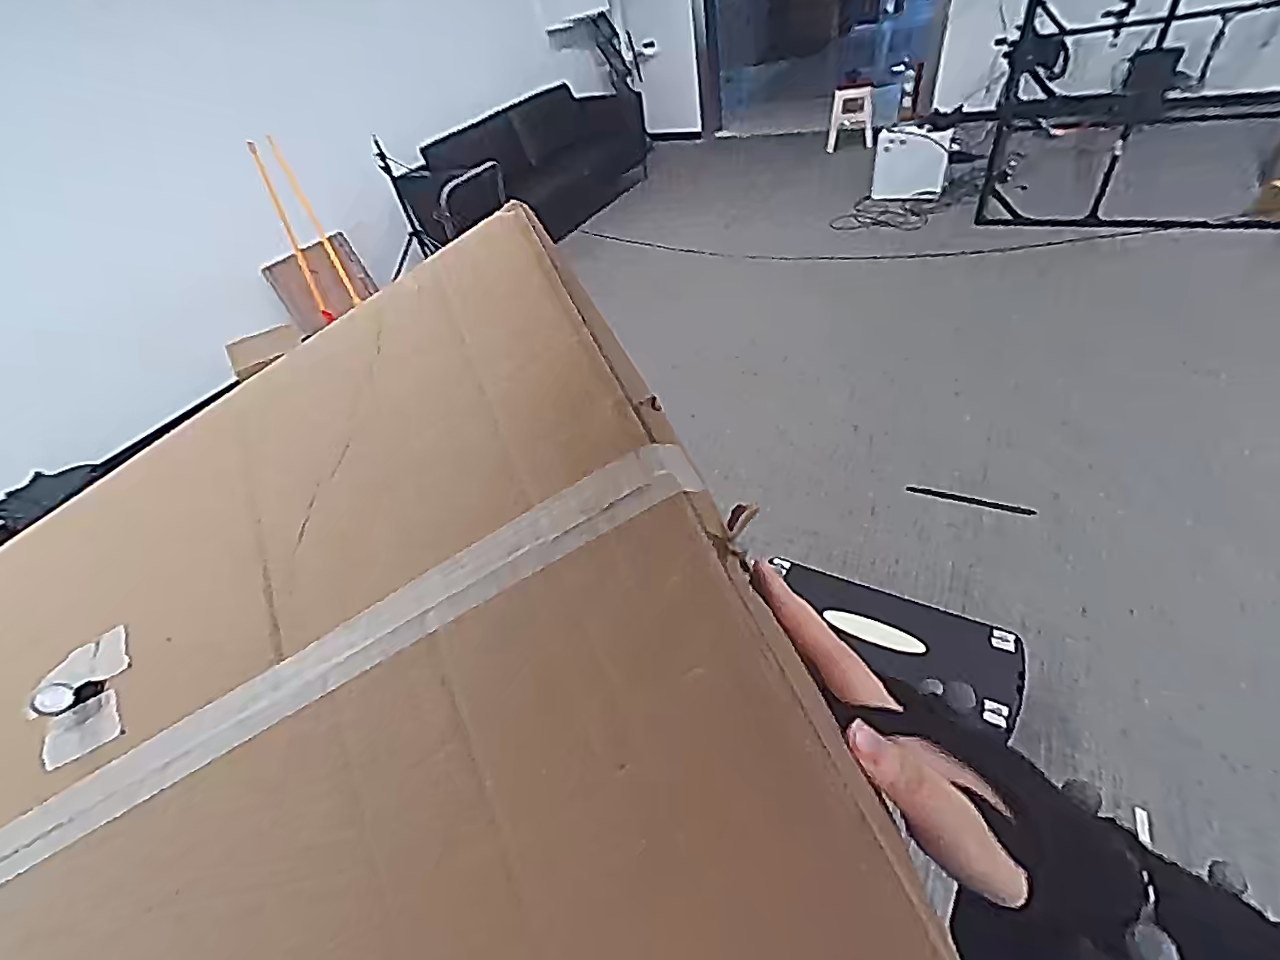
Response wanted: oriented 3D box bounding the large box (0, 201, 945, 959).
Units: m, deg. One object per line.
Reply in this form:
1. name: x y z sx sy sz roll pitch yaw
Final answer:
1. large box: -0.106 0.132 0.355 0.408 0.320 0.320 -31 67 7

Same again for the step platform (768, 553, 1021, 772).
1. step platform: 0.596 0.446 1.438 0.684 0.204 0.286 19 52 32
